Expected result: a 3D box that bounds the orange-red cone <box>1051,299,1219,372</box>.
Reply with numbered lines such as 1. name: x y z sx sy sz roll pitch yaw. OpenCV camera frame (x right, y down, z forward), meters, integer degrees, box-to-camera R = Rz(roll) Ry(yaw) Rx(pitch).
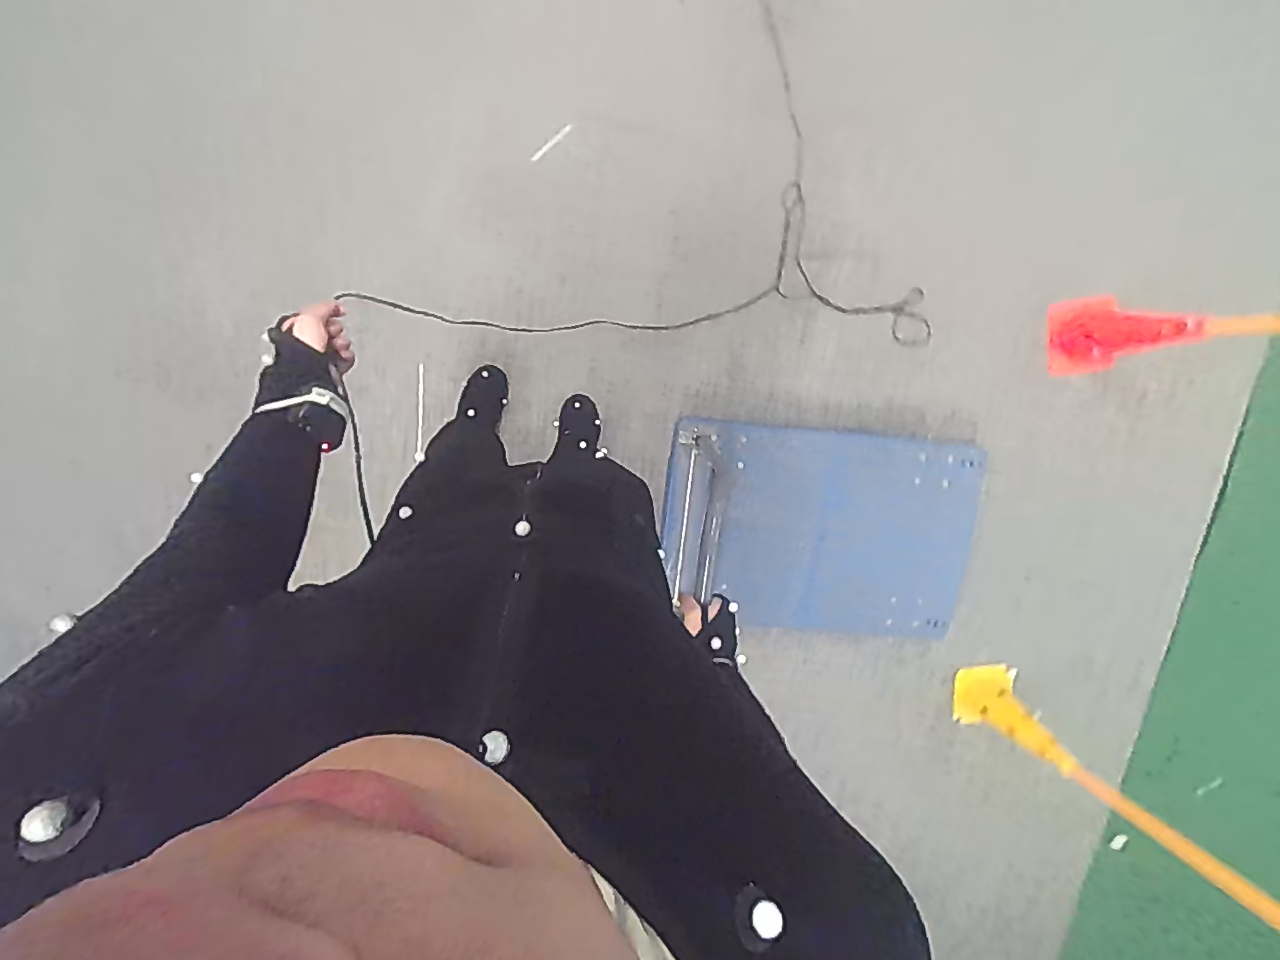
1. orange-red cone: 1.324 -0.398 1.436 0.198 0.360 0.199 -8 100 -2
